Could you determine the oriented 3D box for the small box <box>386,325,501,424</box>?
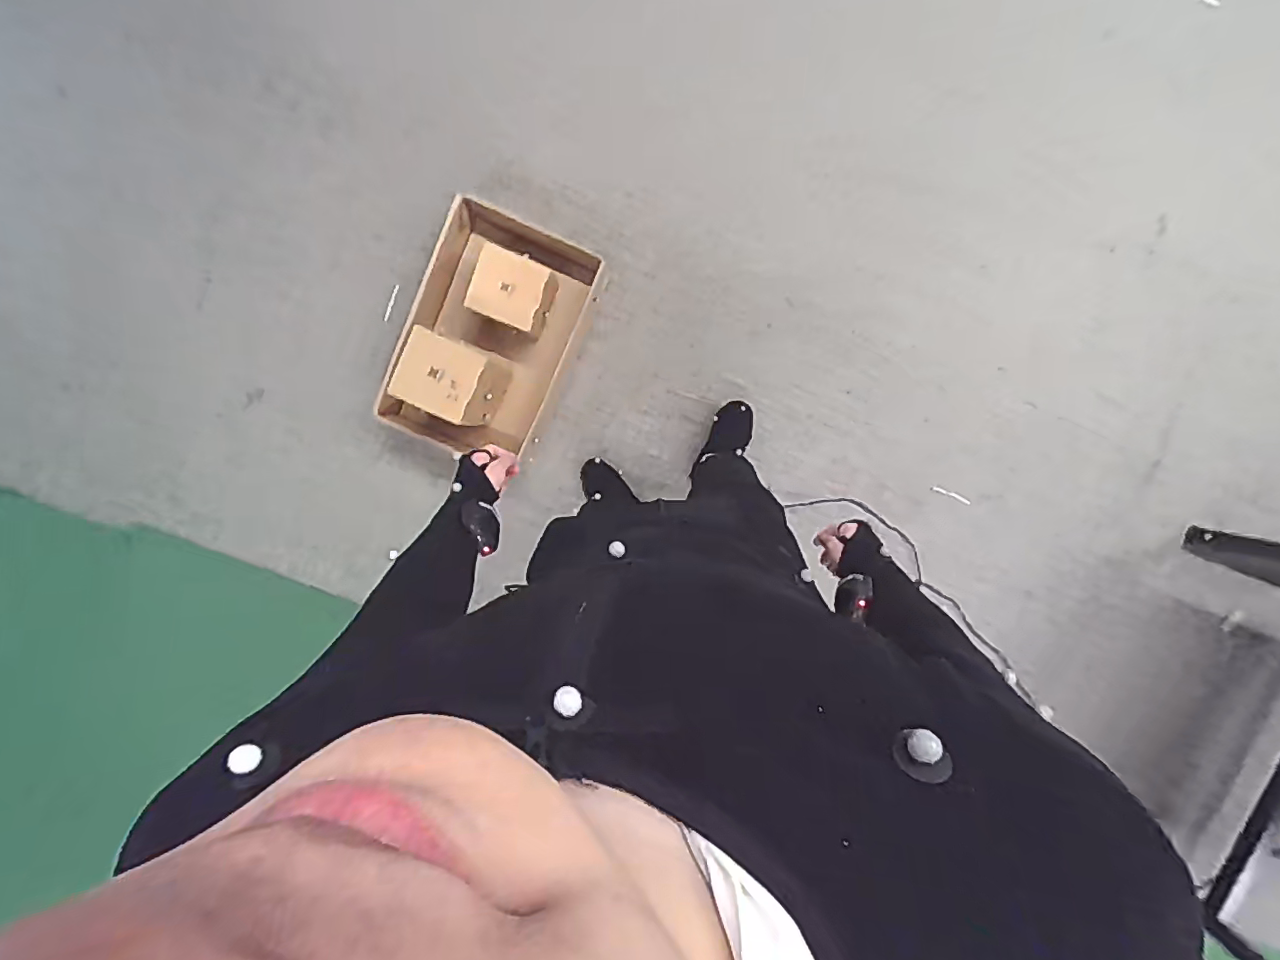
[{"bbox_3d":[-0.452,-0.238,1.273,0.179,0.176,0.168,25,95,-5],"label":"small box"}]
